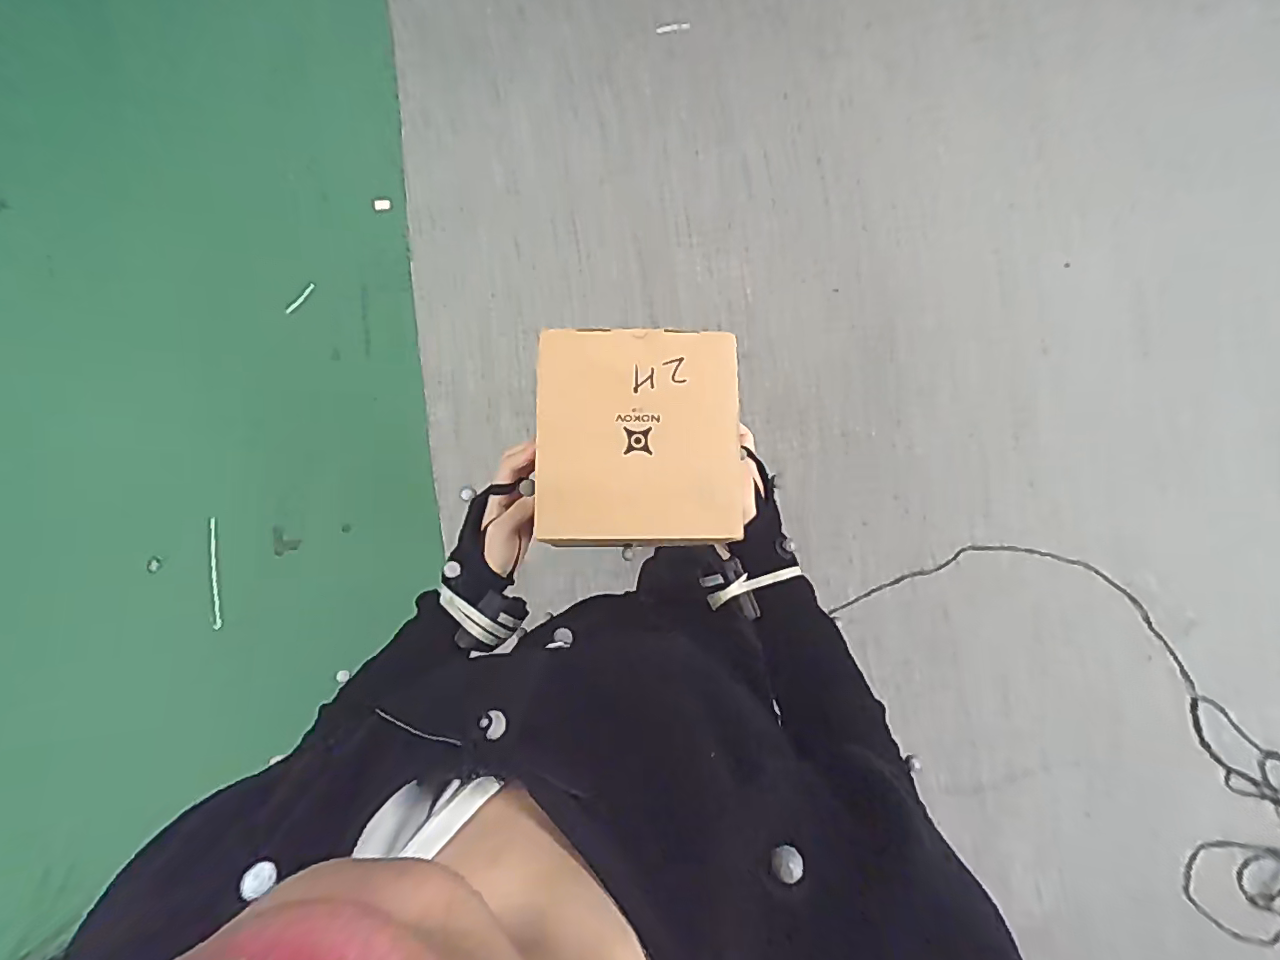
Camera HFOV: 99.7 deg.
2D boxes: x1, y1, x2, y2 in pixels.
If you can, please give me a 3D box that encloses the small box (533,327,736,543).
[{"bbox_3d":[-0.007,-0.029,0.521,0.168,0.176,0.179,0,81,-4],"label":"small box"}]
